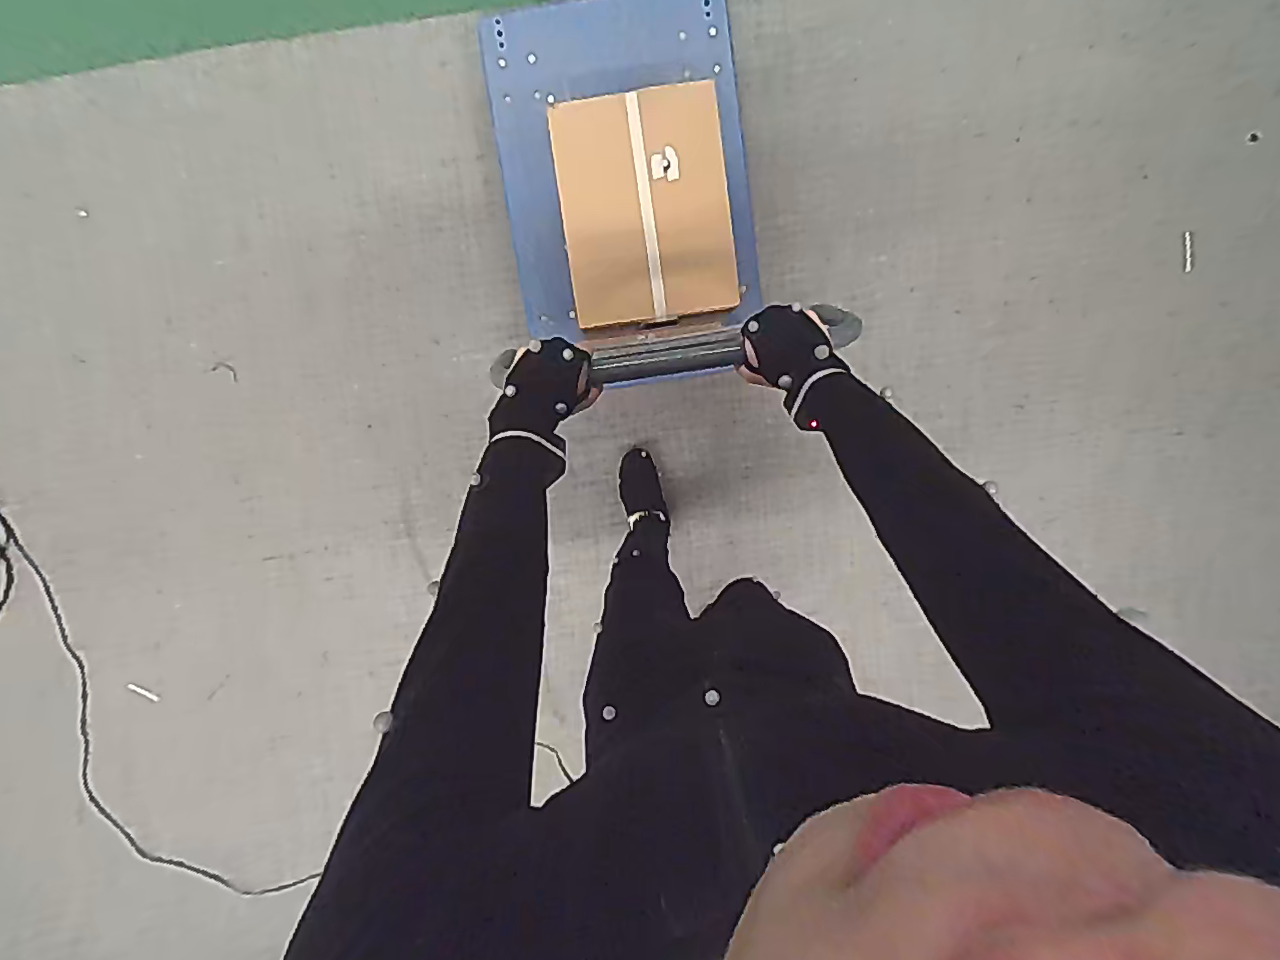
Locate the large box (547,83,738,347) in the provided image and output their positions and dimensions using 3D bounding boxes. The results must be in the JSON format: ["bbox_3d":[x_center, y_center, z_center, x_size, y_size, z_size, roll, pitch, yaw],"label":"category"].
[{"bbox_3d":[0.009,-0.526,1.158,0.320,0.320,0.408,-8,96,0],"label":"large box"}]
